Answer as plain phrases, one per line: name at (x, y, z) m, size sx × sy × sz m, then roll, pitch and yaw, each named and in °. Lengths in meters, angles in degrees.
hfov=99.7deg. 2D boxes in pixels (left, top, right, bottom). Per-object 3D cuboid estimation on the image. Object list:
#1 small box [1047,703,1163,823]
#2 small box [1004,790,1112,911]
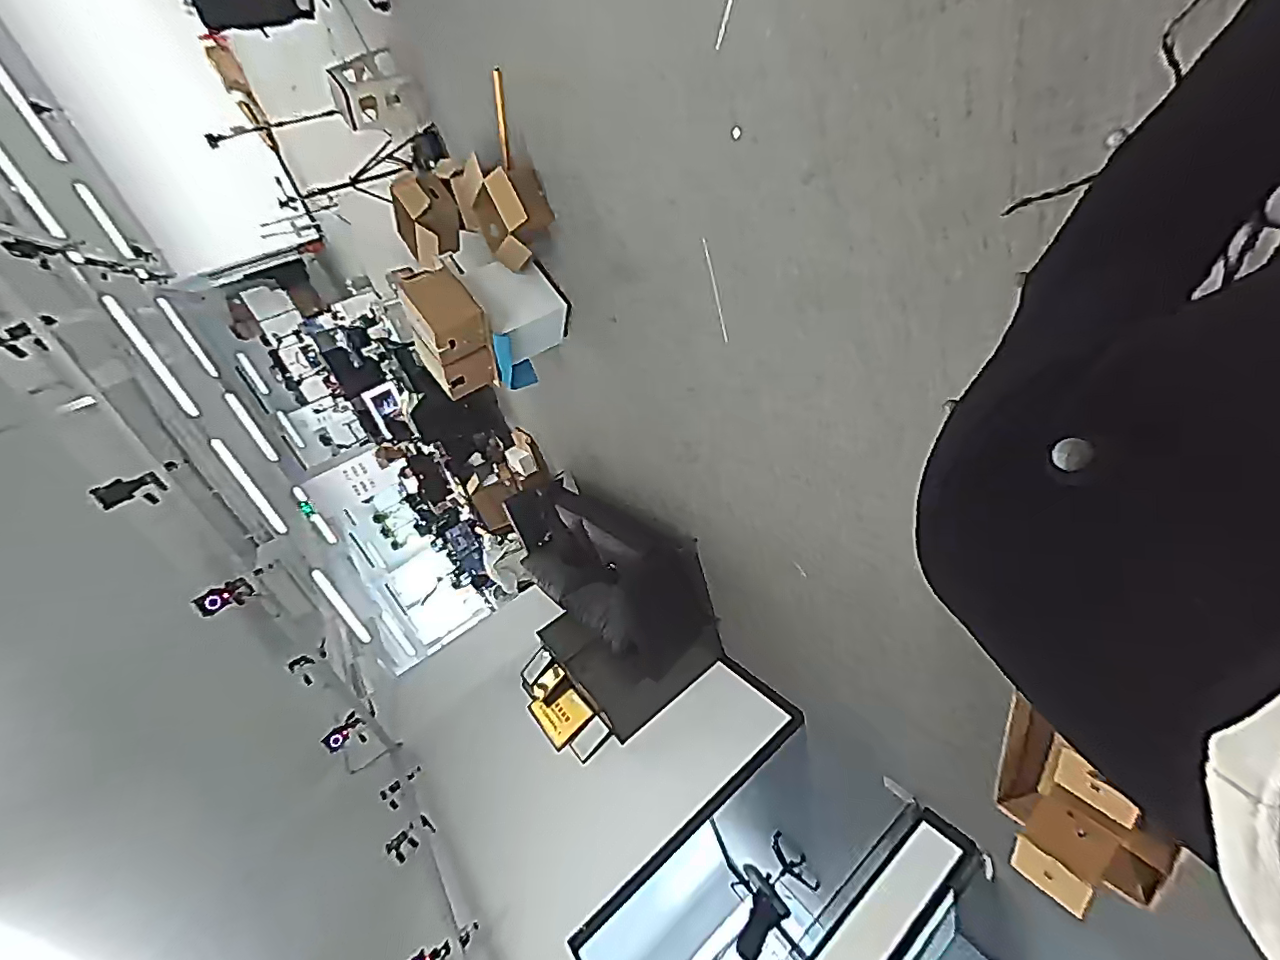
small box at (1.180, 0.711, 1.375) m, size 0.168 × 0.176 × 0.179 m, roll 30°, pitch 145°, yaw 48°
small box at (1.110, 0.980, 1.440) m, size 0.168 × 0.176 × 0.179 m, roll 29°, pitch 142°, yaw 49°
